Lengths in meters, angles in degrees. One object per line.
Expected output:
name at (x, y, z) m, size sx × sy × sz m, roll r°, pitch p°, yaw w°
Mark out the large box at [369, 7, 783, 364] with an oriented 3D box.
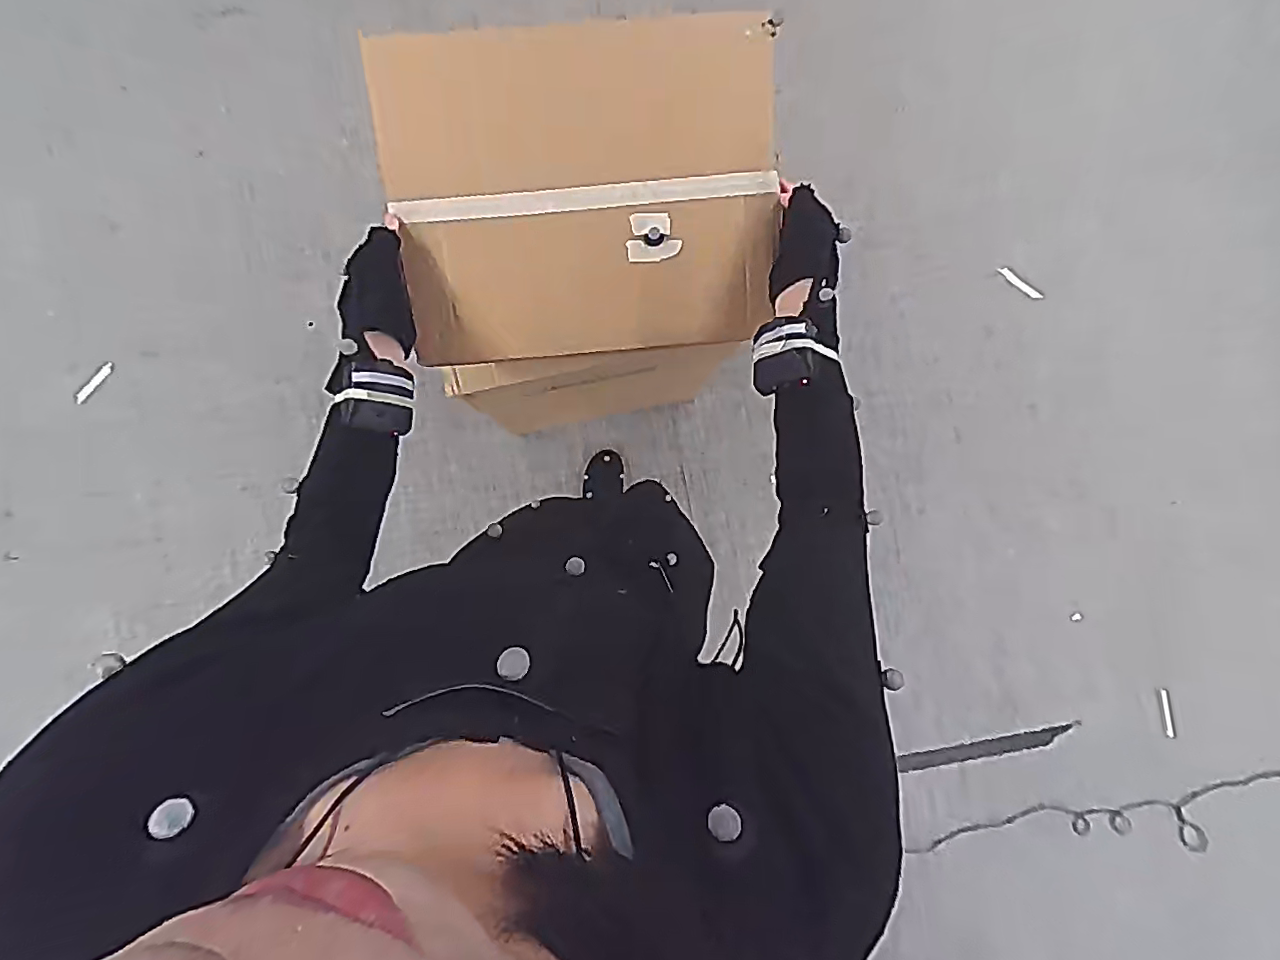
large box at (-0.064, -0.330, 0.707) m, size 0.408 × 0.320 × 0.320 m, roll -6°, pitch 103°, yaw -2°
